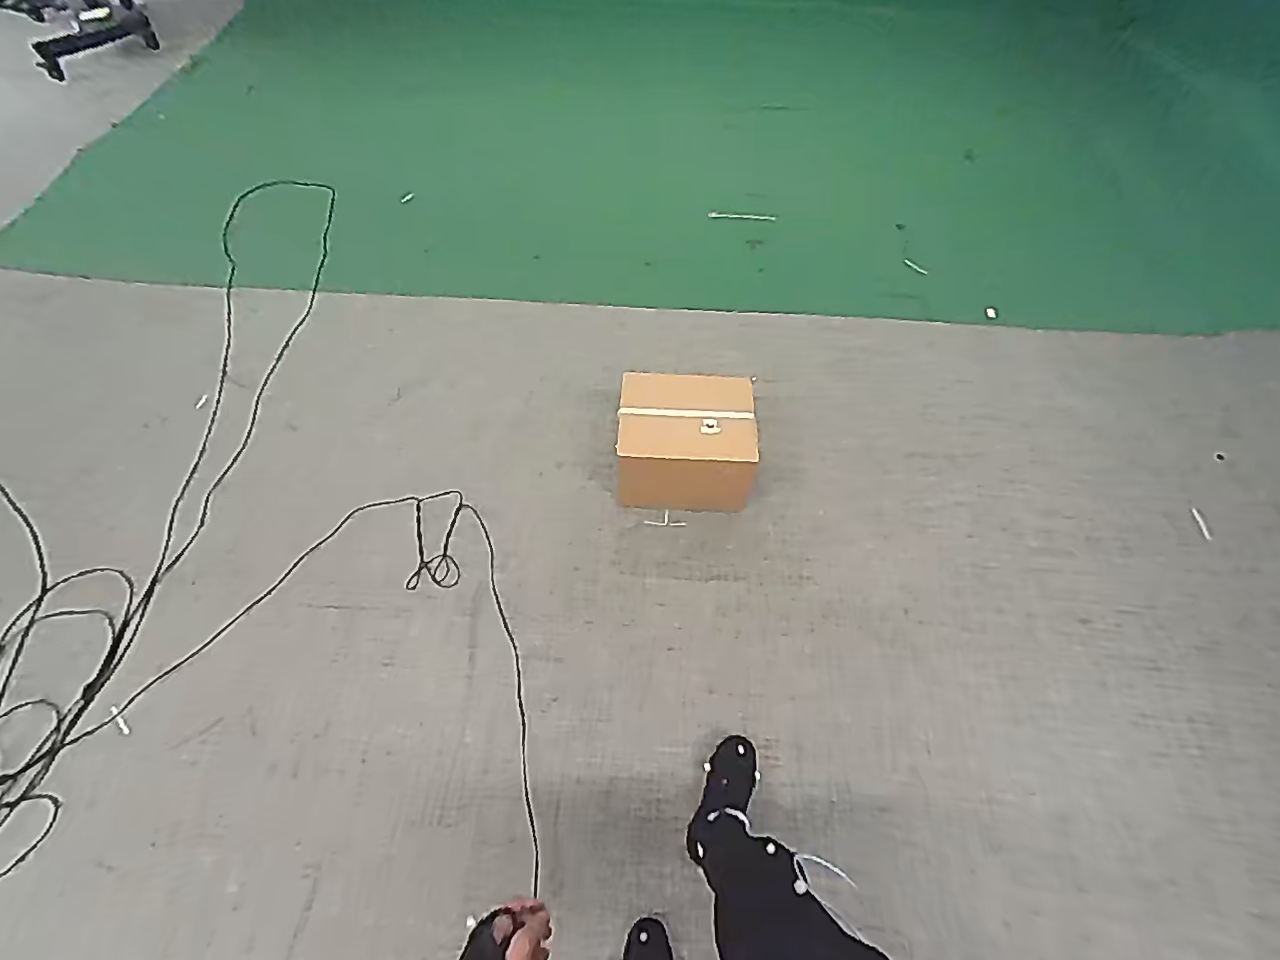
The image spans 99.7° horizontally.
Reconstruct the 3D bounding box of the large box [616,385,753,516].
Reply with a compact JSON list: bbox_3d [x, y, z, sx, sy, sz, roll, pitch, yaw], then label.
[{"bbox_3d":[0.125,-0.087,1.746,0.408,0.320,0.320,2,58,0],"label":"large box"}]
